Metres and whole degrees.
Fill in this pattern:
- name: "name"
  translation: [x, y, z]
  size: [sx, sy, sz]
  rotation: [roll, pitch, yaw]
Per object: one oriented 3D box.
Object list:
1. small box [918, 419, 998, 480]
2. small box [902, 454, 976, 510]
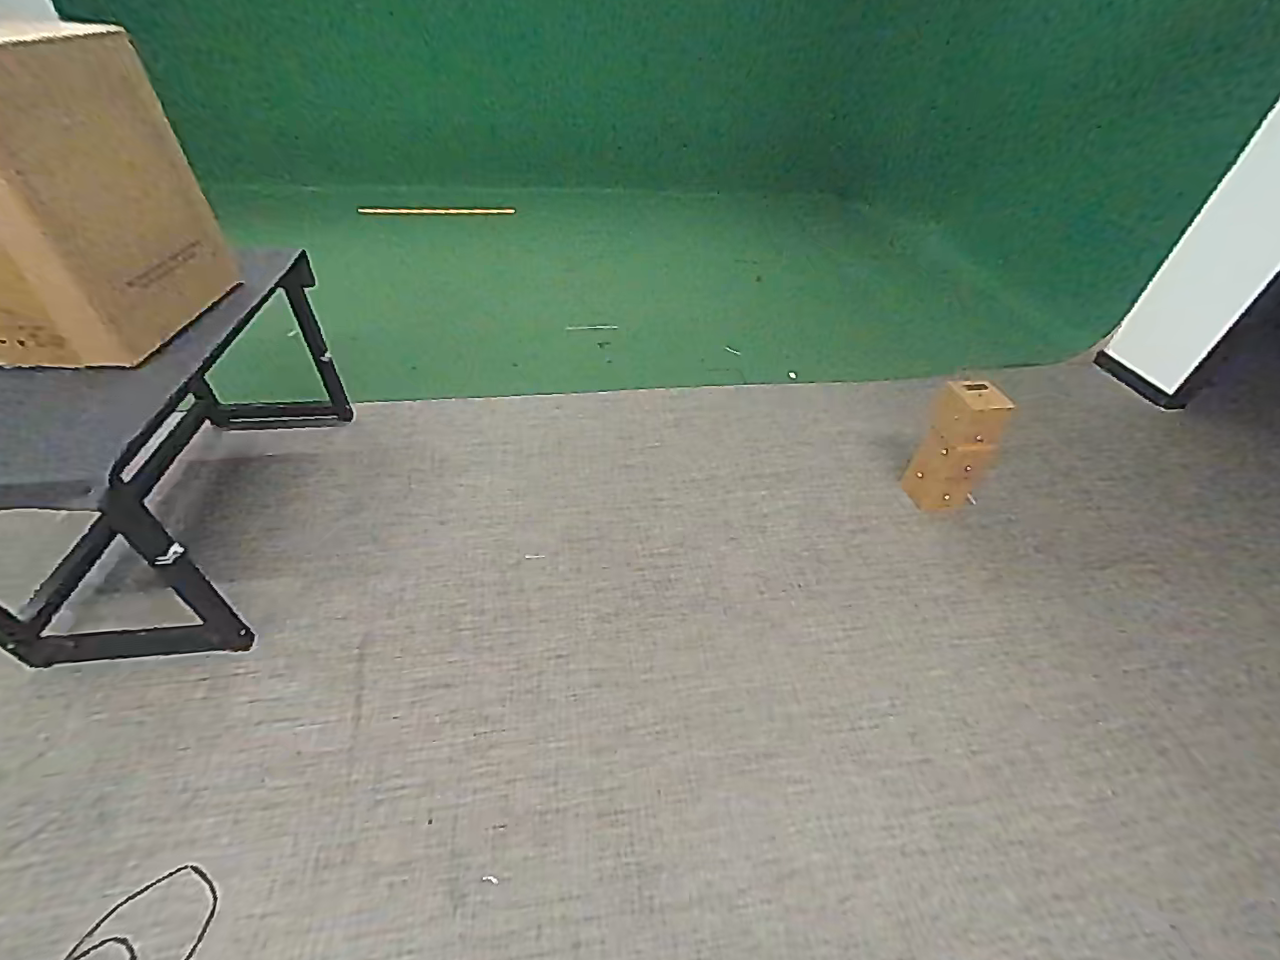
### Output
- name: "small box"
  translation: [1.199, -0.110, 2.054]
  size: [0.168, 0.176, 0.179]
  rotation: [-5, 44, -9]
- name: "small box"
  translation: [1.193, 0.006, 2.171]
  size: [0.168, 0.176, 0.179]
  rotation: [-6, 44, -9]
